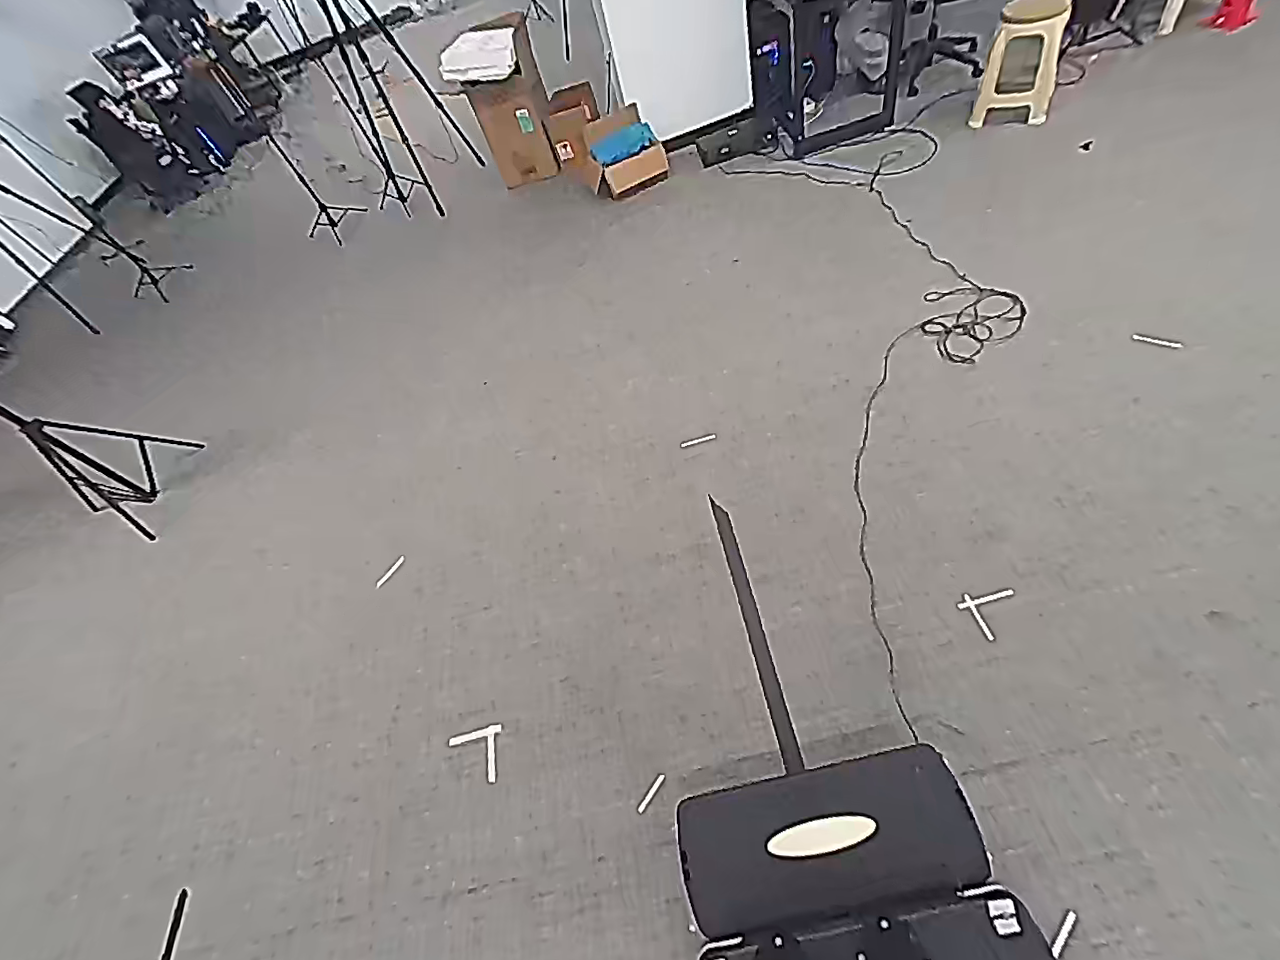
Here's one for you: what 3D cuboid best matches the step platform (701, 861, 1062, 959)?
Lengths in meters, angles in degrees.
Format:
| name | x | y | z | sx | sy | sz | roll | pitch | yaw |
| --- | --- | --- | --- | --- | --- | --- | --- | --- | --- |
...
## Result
| name | x | y | z | sx | sy | sz | roll | pitch | yaw |
| --- | --- | --- | --- | --- | --- | --- | --- | --- | --- |
| step platform | 0.467 | 1.000 | 1.078 | 0.684 | 0.204 | 0.286 | -18 | 51 | 6 |
